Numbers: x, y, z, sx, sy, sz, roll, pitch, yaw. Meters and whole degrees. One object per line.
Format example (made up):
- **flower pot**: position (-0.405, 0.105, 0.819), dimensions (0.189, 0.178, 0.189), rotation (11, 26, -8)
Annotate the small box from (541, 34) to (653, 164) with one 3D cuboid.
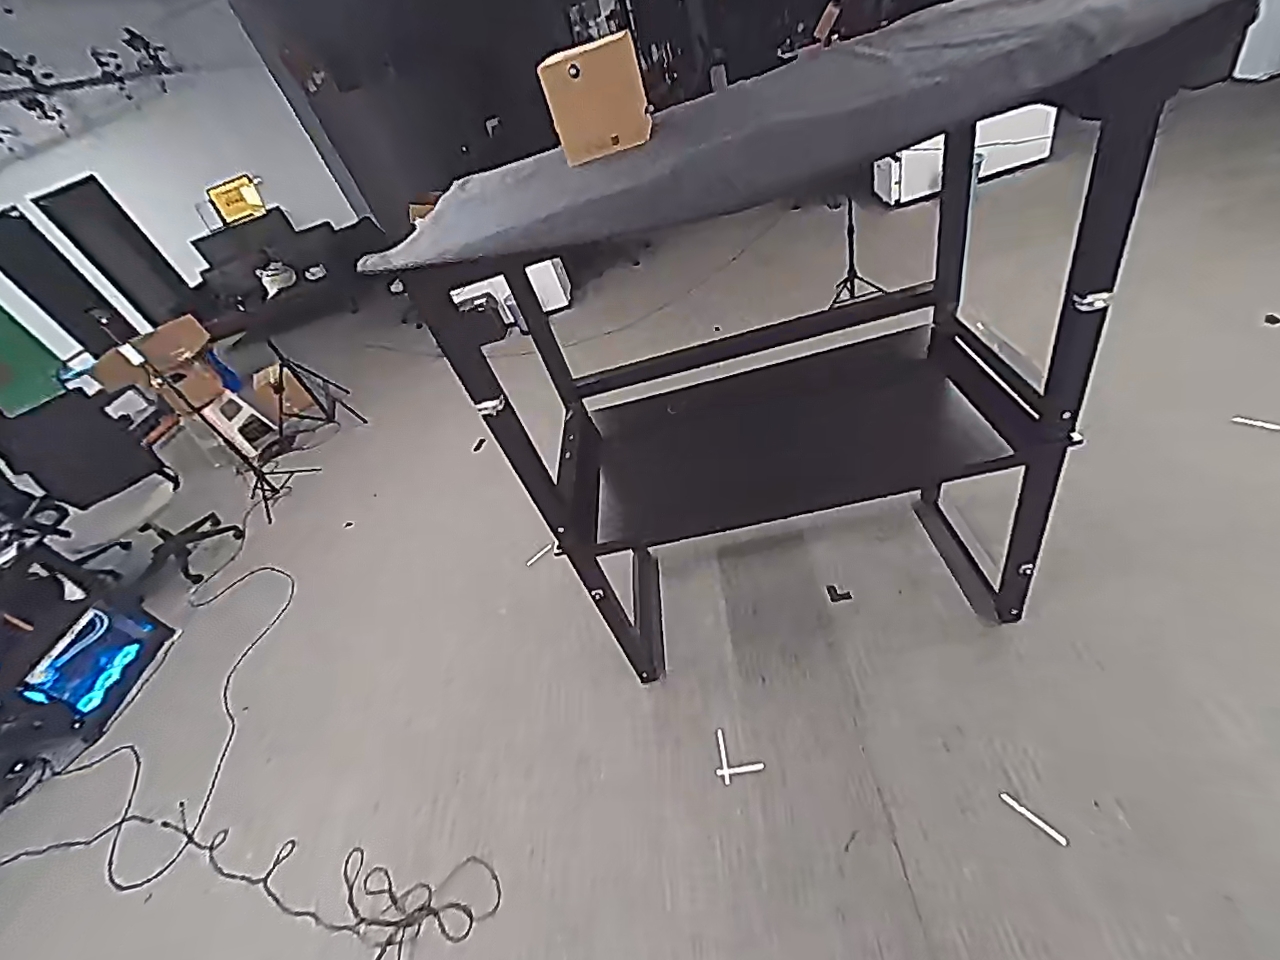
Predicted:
- **small box**: position (-0.075, -0.751, 1.072), dimensions (0.168, 0.176, 0.179), rotation (-10, 41, 13)
